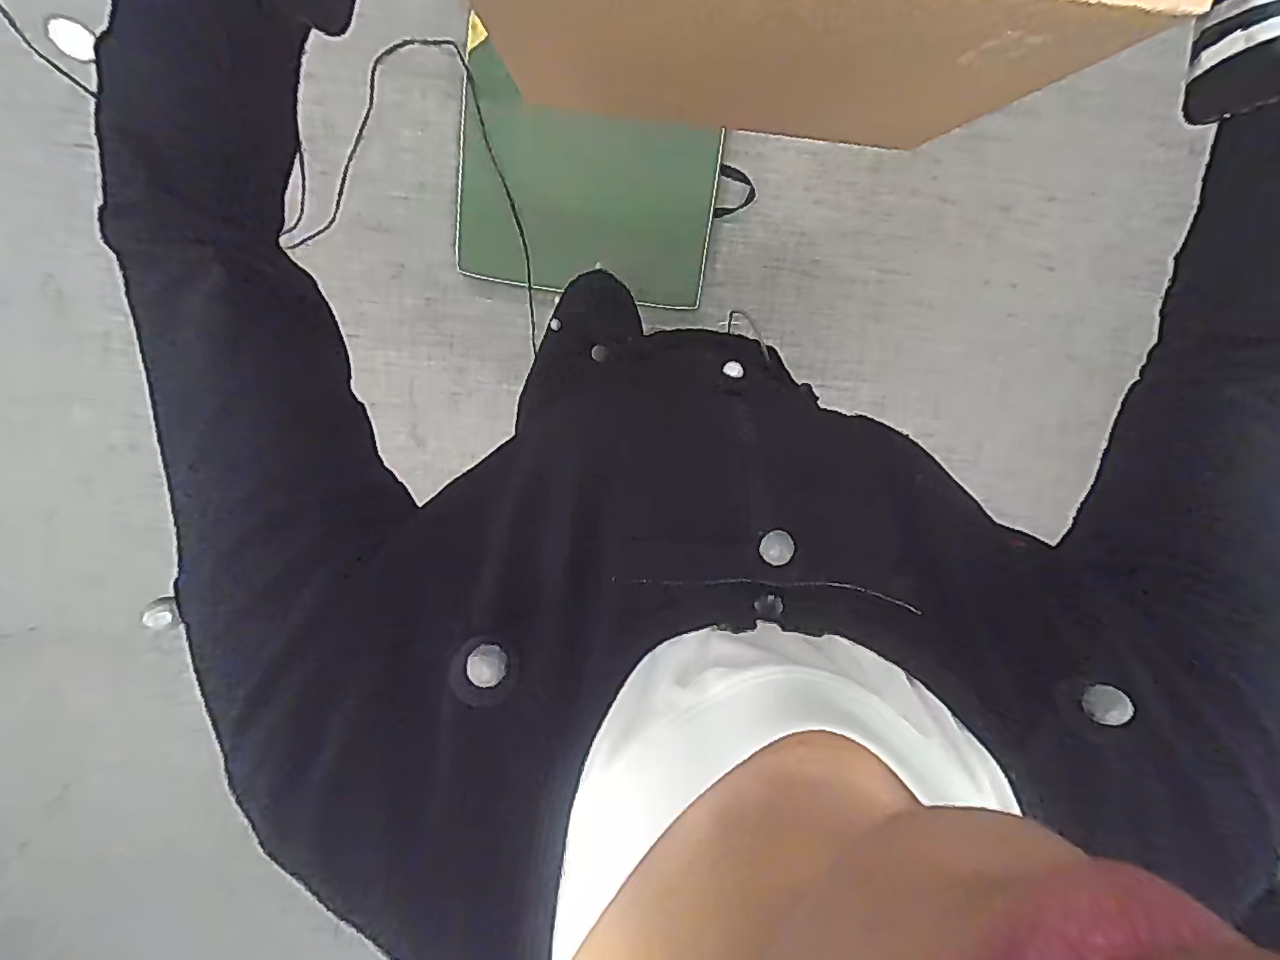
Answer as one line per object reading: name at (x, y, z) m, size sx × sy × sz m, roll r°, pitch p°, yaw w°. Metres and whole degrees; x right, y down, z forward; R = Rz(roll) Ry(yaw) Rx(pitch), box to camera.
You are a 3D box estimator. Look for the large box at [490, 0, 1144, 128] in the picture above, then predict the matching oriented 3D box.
large box at (0.101, -0.466, 0.361) m, size 0.408 × 0.320 × 0.320 m, roll 4°, pitch 111°, yaw -4°
